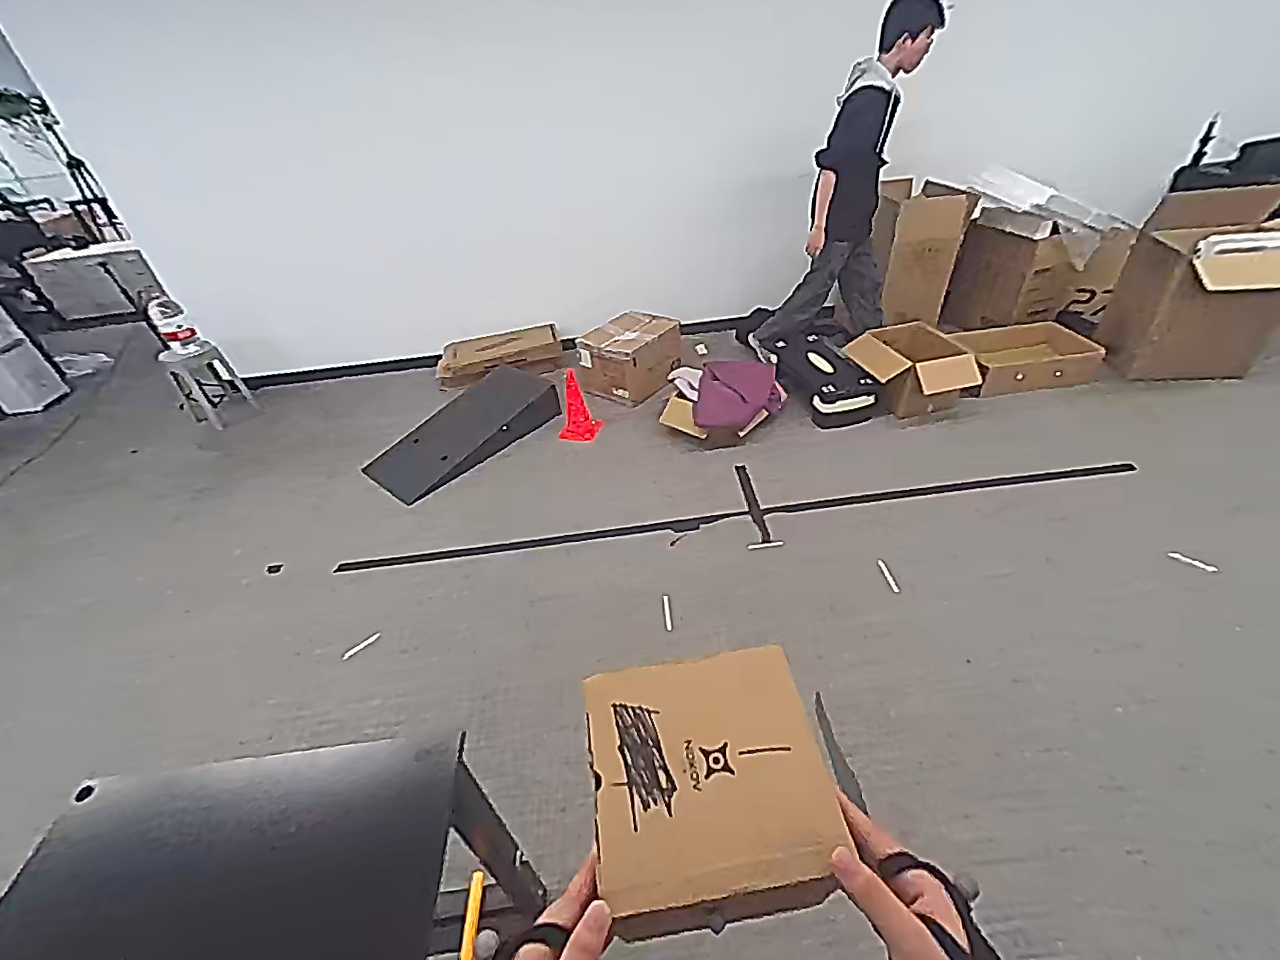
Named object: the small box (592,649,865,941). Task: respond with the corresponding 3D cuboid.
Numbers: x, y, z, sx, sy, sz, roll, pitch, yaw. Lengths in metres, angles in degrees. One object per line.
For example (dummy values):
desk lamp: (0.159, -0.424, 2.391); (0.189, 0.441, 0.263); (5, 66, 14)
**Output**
small box: (0.061, 0.272, 0.465); (0.179, 0.176, 0.168); (-8, 46, -3)
